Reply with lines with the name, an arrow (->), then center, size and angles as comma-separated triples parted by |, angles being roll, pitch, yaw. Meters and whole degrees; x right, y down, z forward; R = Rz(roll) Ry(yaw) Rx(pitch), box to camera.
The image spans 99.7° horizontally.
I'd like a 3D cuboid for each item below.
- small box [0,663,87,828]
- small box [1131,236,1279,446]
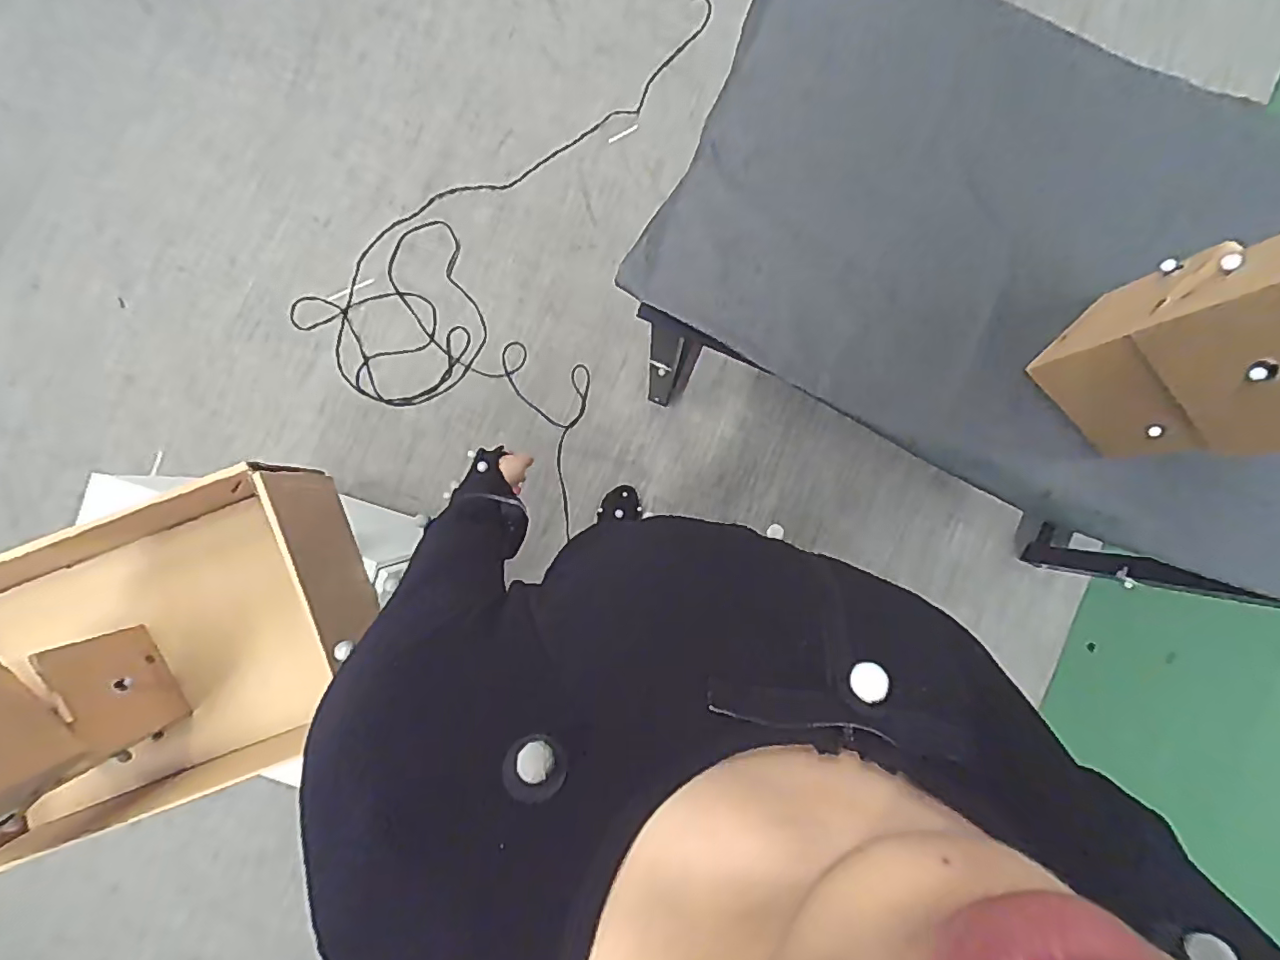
small box -> -0.820, 0.333, 0.613 | 0.179, 0.176, 0.168 | 45, 89, -1
small box -> 0.658, -0.145, 0.525 | 0.168, 0.176, 0.179 | -35, 88, -2
